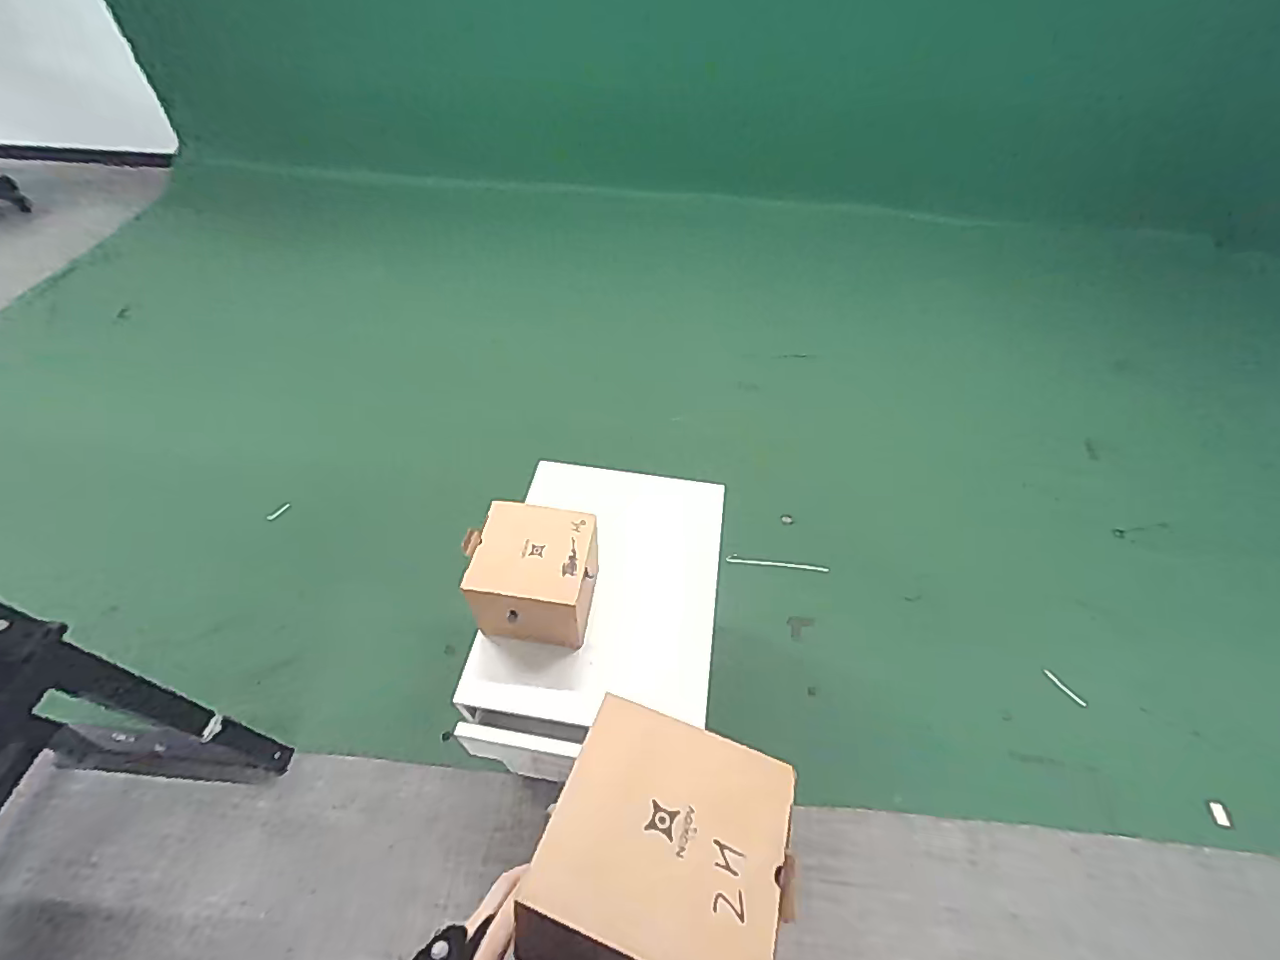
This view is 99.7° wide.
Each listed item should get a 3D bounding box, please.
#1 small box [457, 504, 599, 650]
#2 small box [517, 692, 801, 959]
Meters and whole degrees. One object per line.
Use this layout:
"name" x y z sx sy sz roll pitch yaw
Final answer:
"small box" -0.169 0.162 0.882 0.179 0.176 0.168 7 51 4
"small box" 0.014 0.317 0.445 0.179 0.176 0.168 19 39 10
